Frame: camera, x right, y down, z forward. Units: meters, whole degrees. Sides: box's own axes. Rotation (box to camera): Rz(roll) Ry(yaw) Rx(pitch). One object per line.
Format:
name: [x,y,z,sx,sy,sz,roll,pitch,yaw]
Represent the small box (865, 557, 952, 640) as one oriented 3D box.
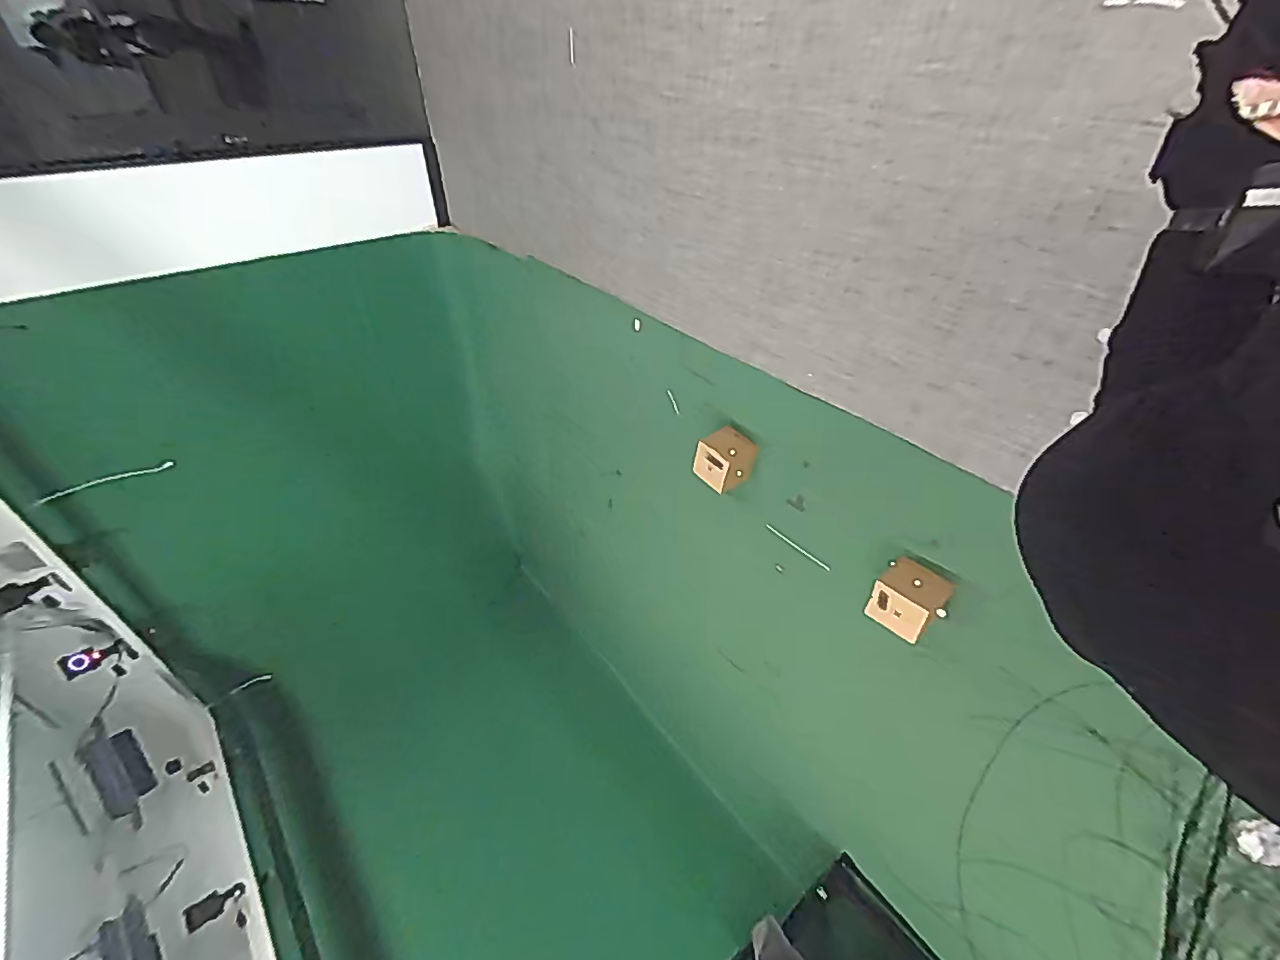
small box: [0.872,0.376,1.759,0.179,0.176,0.168,34,140,36]
